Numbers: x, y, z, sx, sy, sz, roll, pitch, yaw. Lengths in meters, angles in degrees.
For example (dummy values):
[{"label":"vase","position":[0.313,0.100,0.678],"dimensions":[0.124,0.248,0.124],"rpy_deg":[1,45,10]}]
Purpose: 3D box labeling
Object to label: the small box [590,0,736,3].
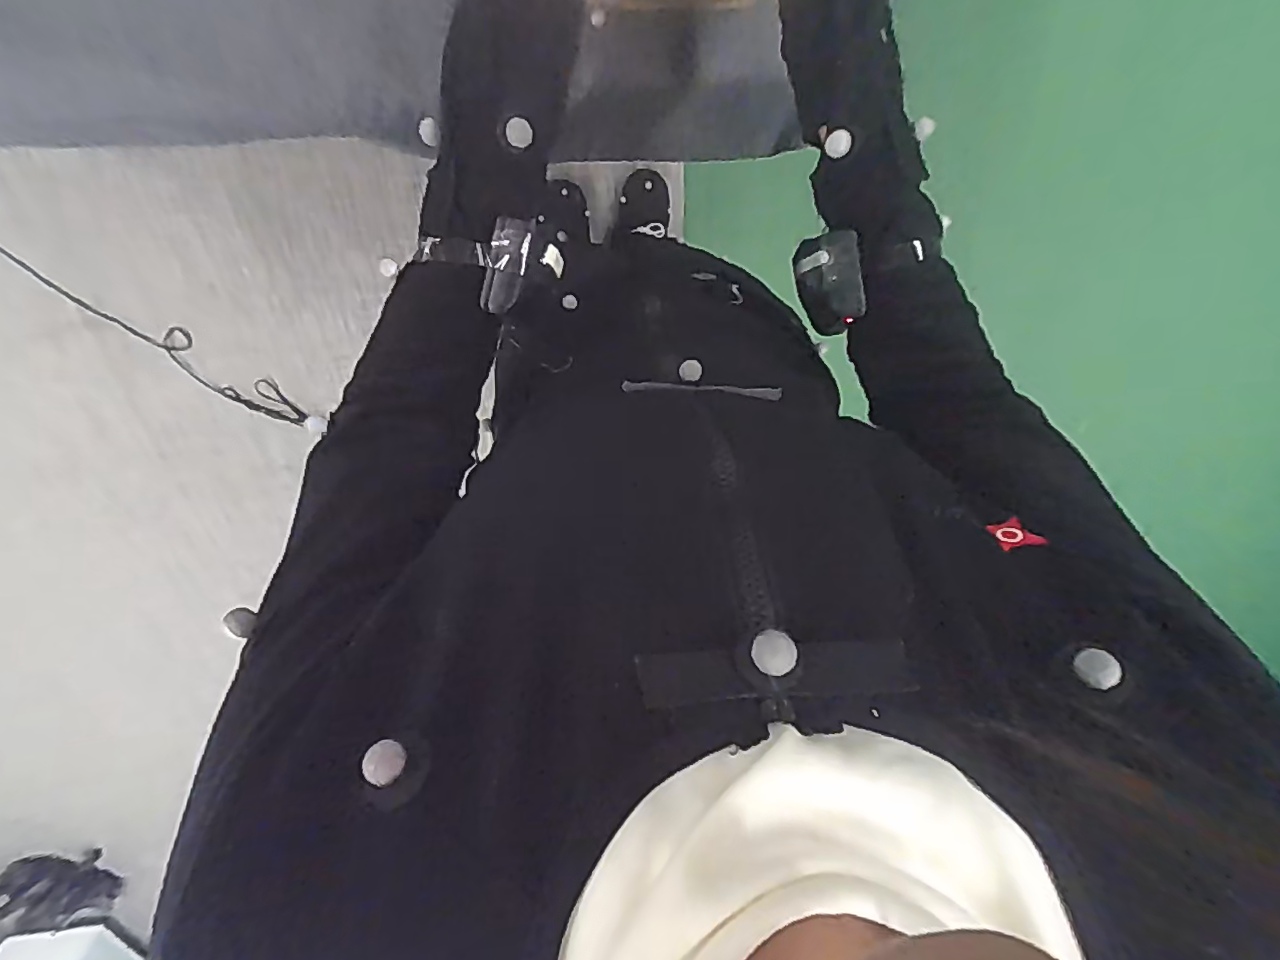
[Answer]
[{"label":"small box","position":[0.019,-0.433,0.346],"dimensions":[0.168,0.176,0.179],"rpy_deg":[-5,122,-5]}]
